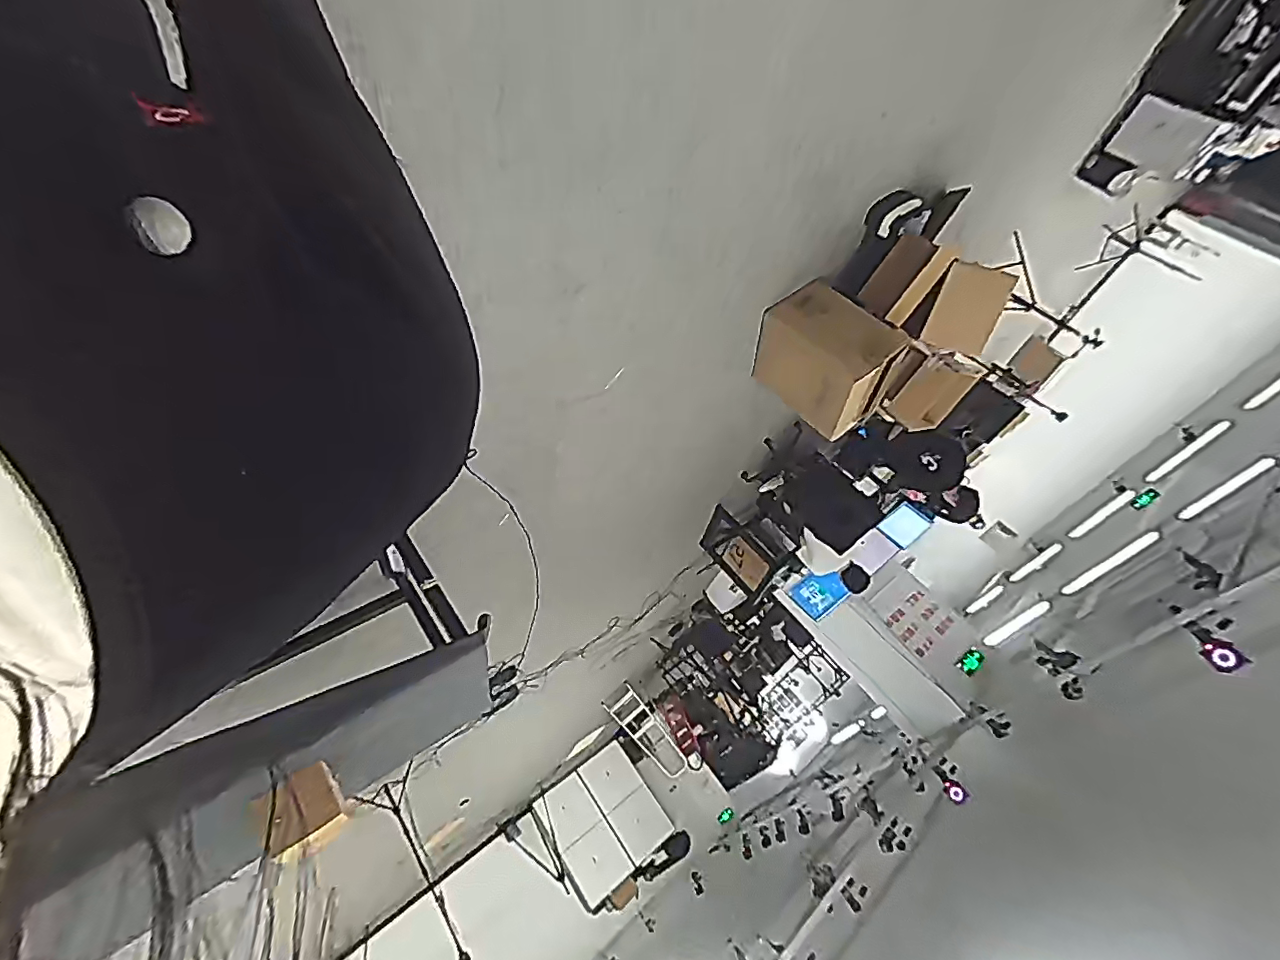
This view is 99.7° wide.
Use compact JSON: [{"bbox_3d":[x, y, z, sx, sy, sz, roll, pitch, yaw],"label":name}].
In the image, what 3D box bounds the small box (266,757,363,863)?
[{"bbox_3d":[-0.907,0.916,1.505,0.179,0.176,0.168,-28,153,-31],"label":"small box"}]
